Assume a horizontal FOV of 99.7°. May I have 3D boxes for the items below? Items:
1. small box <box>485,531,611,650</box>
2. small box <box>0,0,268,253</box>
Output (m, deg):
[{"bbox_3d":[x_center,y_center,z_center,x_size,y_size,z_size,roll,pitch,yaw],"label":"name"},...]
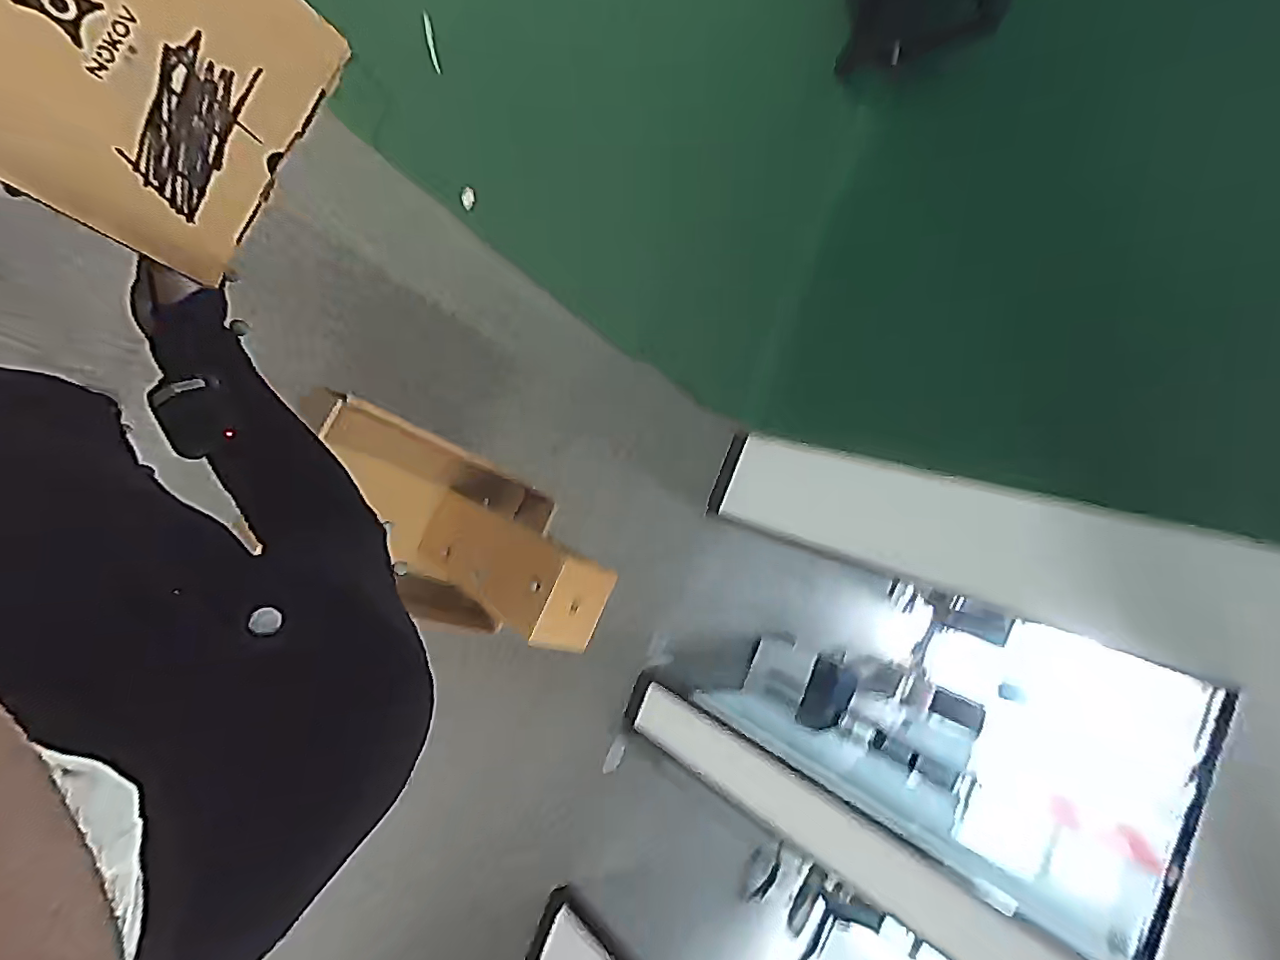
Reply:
[{"bbox_3d":[-0.199,0.231,1.136,0.168,0.176,0.179,32,81,-49],"label":"small box"},{"bbox_3d":[-0.426,-0.296,0.402,0.179,0.176,0.168,31,88,-49],"label":"small box"}]
